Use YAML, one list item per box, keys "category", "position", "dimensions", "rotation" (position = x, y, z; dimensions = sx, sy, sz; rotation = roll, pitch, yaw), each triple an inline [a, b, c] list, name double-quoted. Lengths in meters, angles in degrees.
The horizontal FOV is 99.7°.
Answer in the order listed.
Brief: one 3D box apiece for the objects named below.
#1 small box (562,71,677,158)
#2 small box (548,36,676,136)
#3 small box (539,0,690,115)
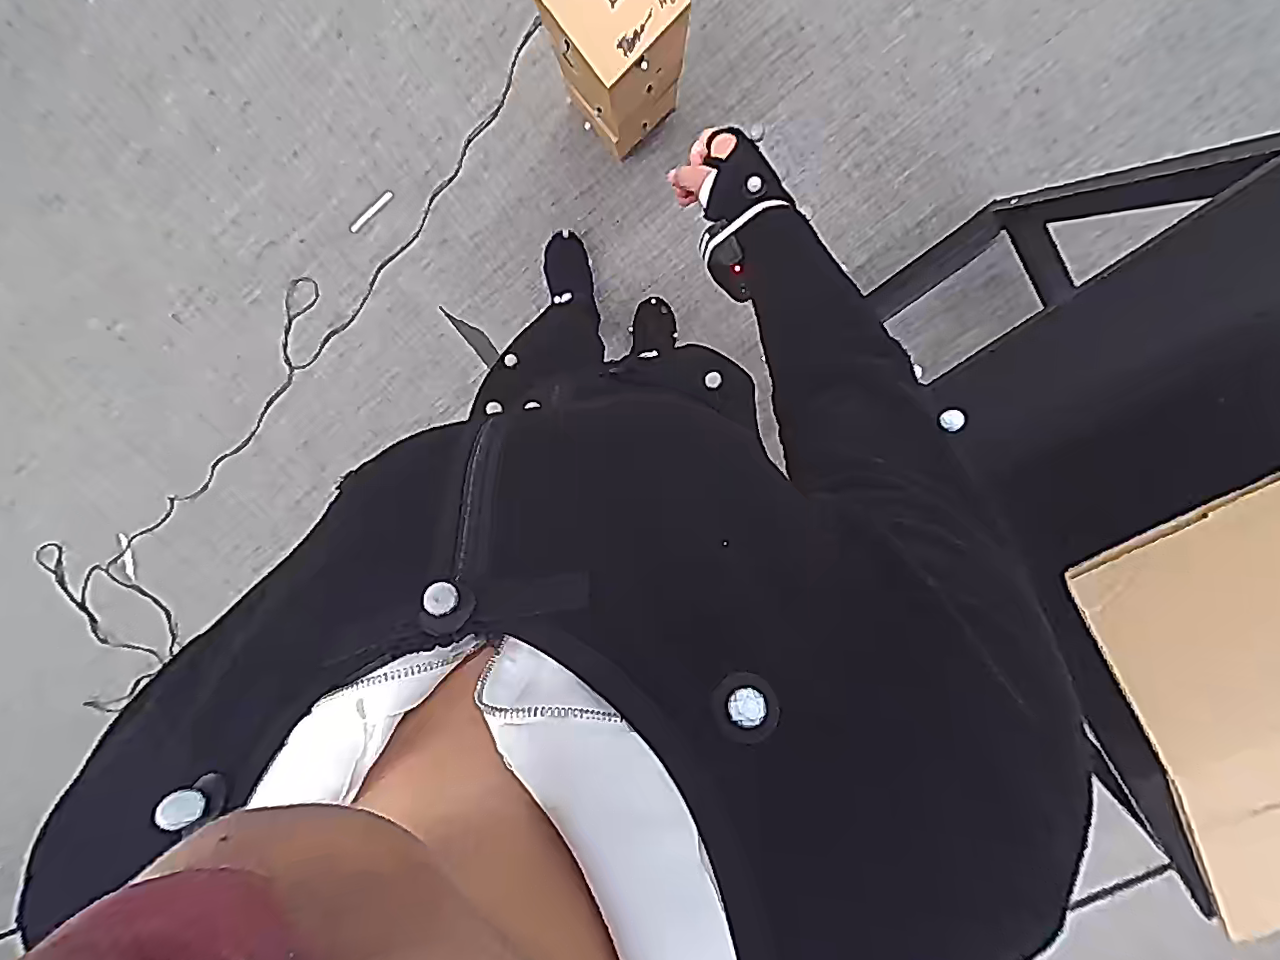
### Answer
- category: "small box"
  position: [-0.041, -0.832, 1.153]
  dimensions: [0.179, 0.176, 0.168]
  rotation: [-39, 104, 14]
- category: "small box"
  position: [-0.041, -0.783, 0.998]
  dimensions: [0.179, 0.176, 0.168]
  rotation: [-43, 105, 13]
- category: "small box"
  position: [-0.043, -0.724, 0.846]
  dimensions: [0.168, 0.176, 0.179]
  rotation: [-39, 104, 13]
